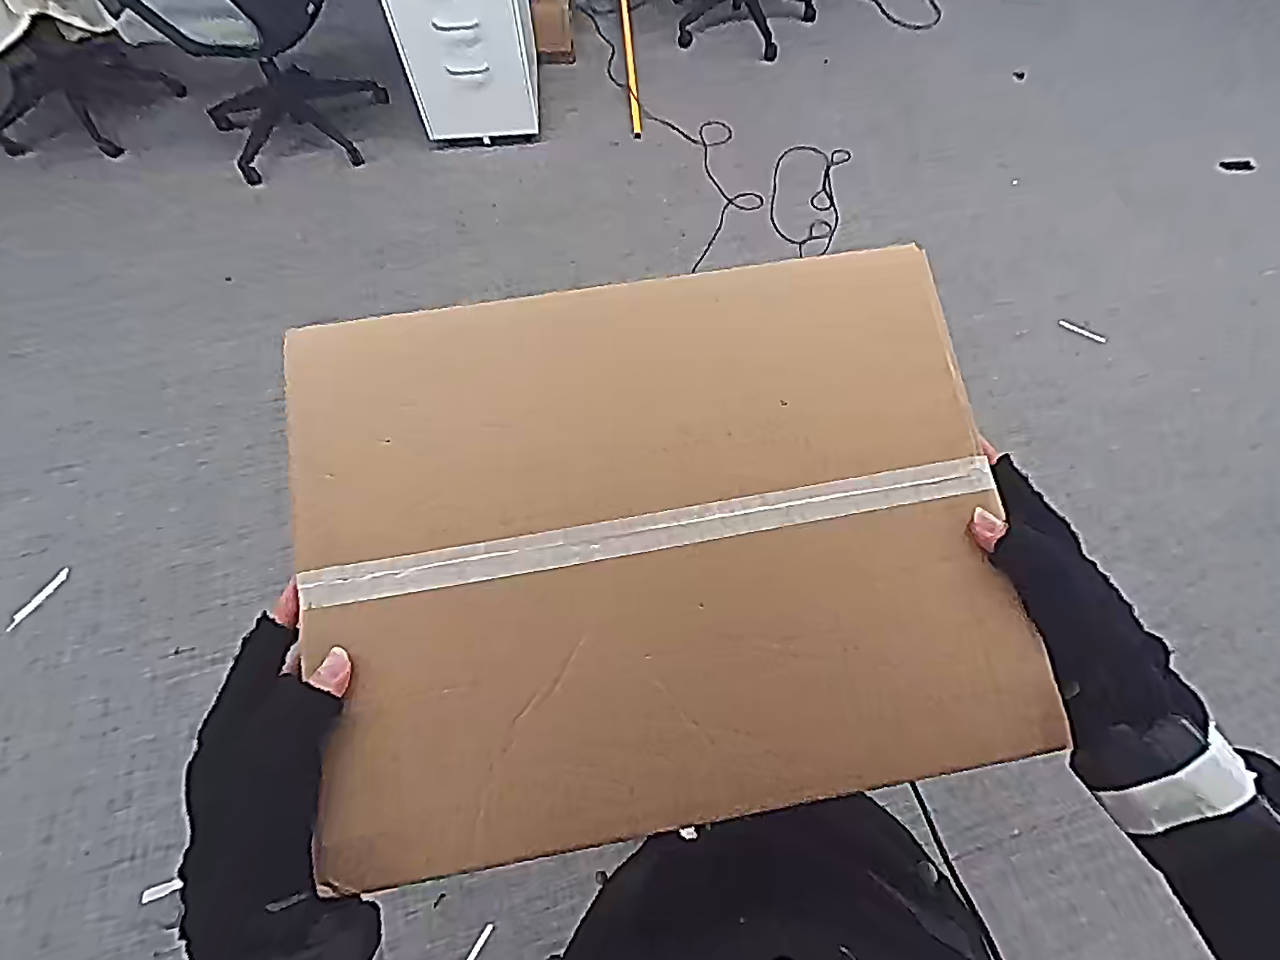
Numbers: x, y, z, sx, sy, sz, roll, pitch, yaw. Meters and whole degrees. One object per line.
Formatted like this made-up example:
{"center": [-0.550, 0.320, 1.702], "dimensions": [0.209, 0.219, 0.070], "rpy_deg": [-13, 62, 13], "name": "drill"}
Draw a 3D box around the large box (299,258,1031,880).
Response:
{"center": [0.004, 0.057, 0.470], "dimensions": [0.408, 0.320, 0.320], "rpy_deg": [-9, 79, -4], "name": "large box"}
